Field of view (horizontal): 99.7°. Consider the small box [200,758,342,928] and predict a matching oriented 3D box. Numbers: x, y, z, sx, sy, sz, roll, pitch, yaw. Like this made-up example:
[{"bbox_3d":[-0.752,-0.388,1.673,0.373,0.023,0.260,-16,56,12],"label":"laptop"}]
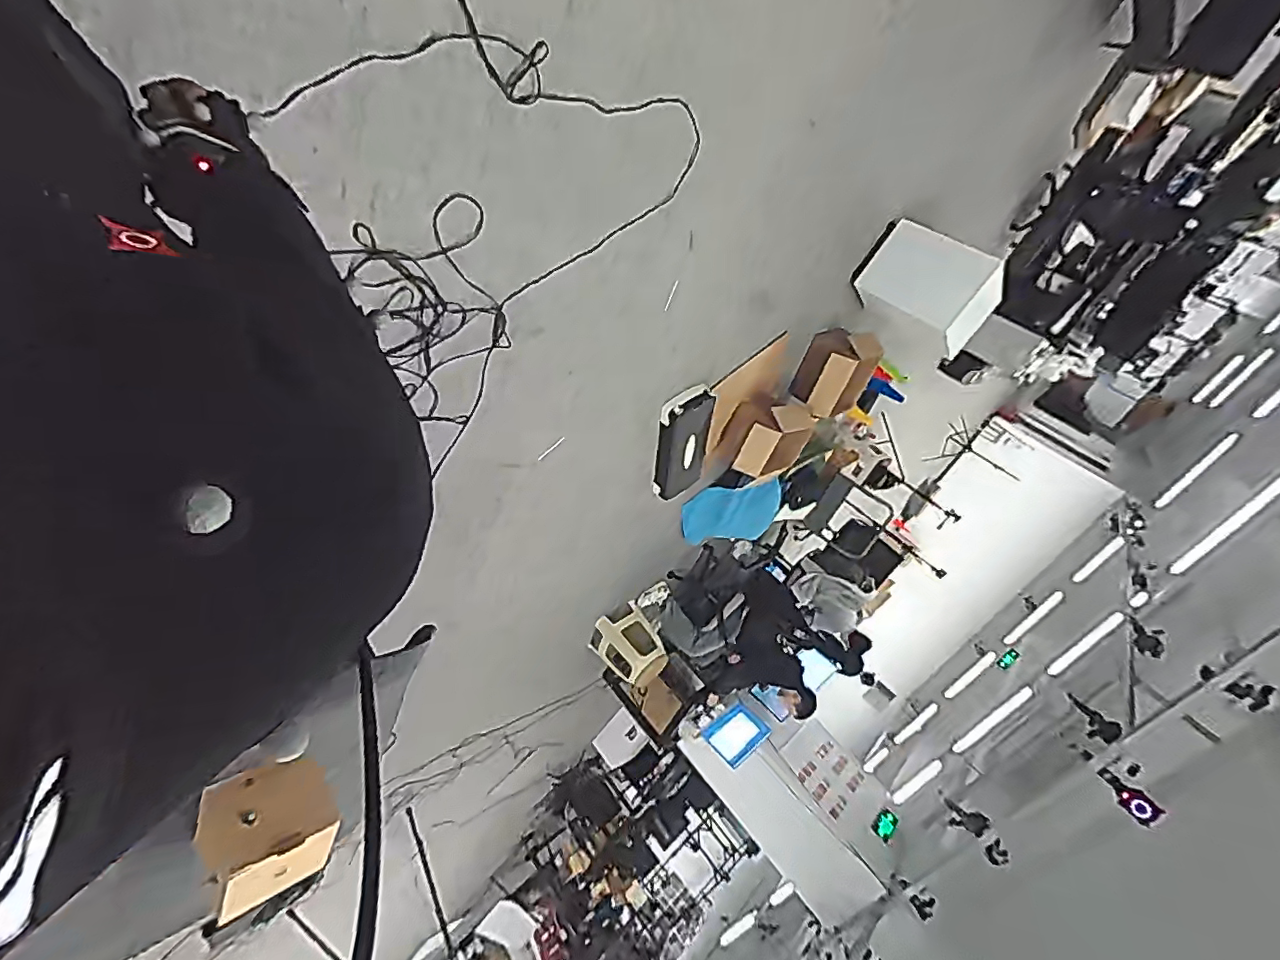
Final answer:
[{"bbox_3d":[-0.671,0.638,0.977,0.168,0.176,0.179,-6,134,-49],"label":"small box"}]
